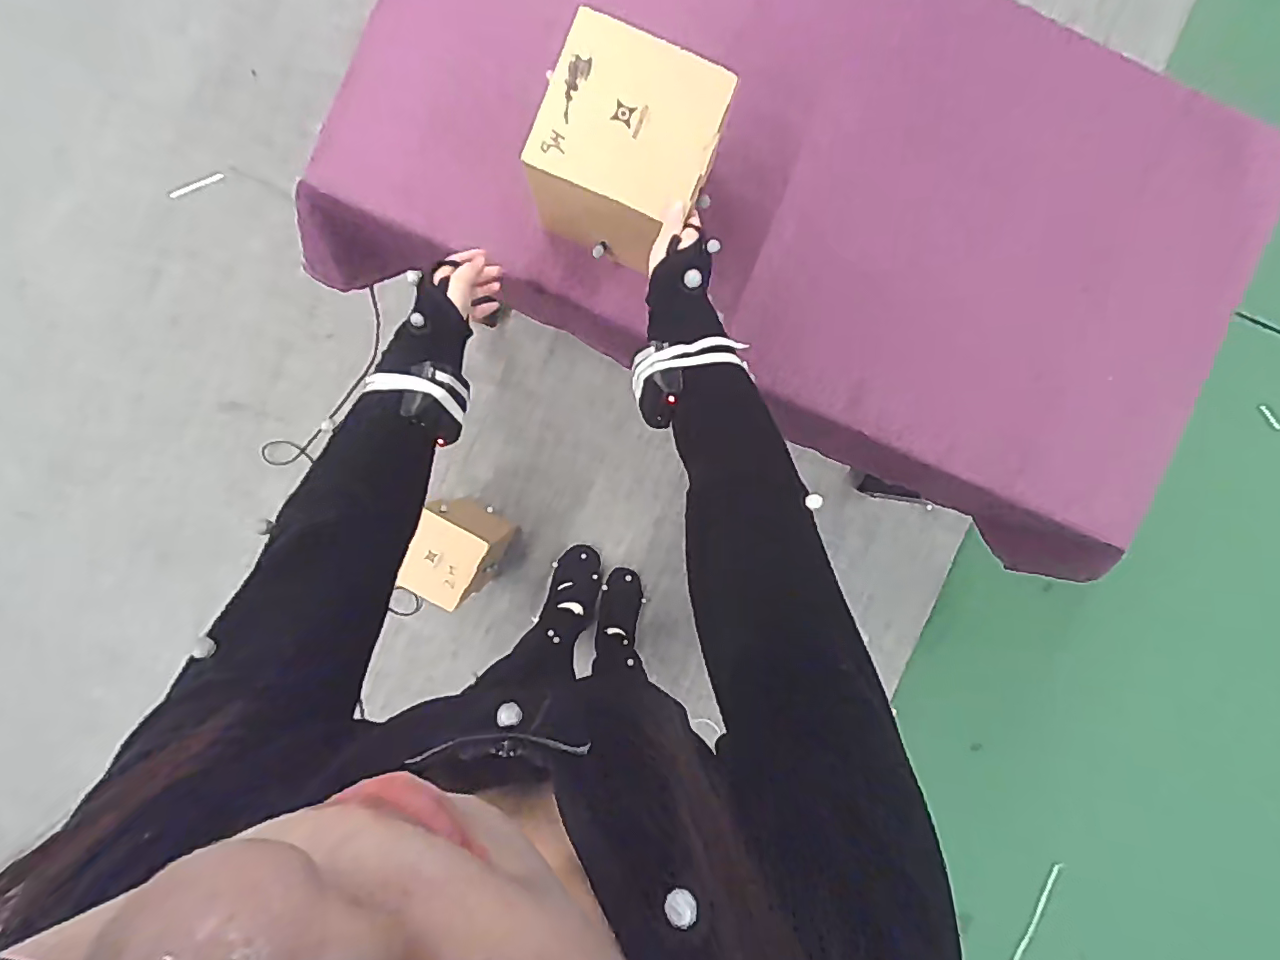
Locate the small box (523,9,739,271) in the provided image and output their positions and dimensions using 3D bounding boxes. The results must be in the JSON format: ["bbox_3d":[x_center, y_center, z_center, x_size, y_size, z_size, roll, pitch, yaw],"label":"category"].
[{"bbox_3d":[-0.014,-0.364,0.622,0.179,0.176,0.168,22,91,-6],"label":"small box"}]

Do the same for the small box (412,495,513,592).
[{"bbox_3d":[-0.435,0.152,1.359,0.168,0.176,0.179,27,91,-5],"label":"small box"}]
